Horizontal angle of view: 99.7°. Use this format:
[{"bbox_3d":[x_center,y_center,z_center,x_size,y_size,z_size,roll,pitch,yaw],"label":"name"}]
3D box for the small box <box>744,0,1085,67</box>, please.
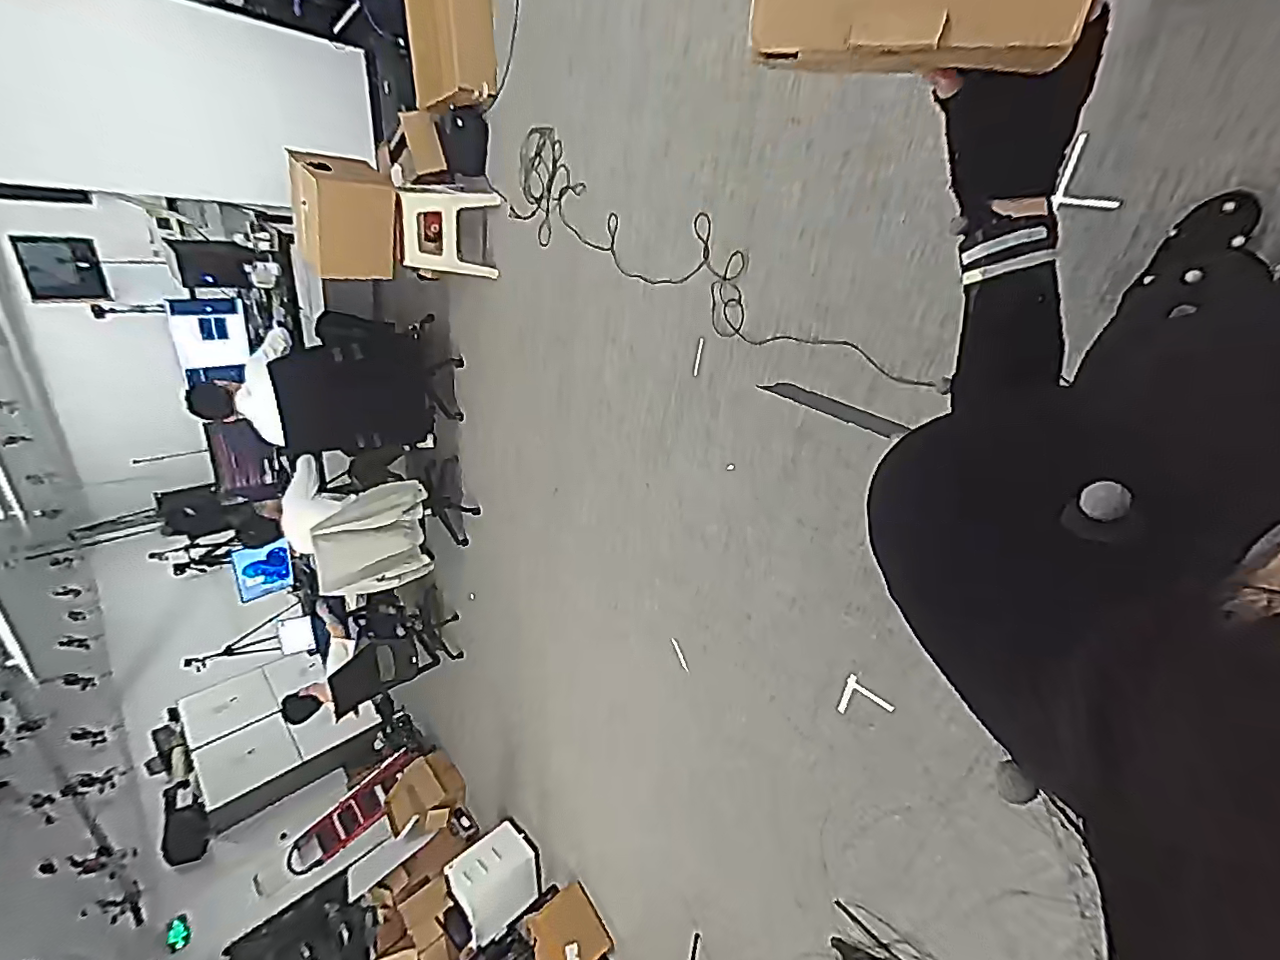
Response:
[{"bbox_3d":[0.170,-0.339,0.294,0.168,0.179,0.176,19,128,23],"label":"small box"}]
